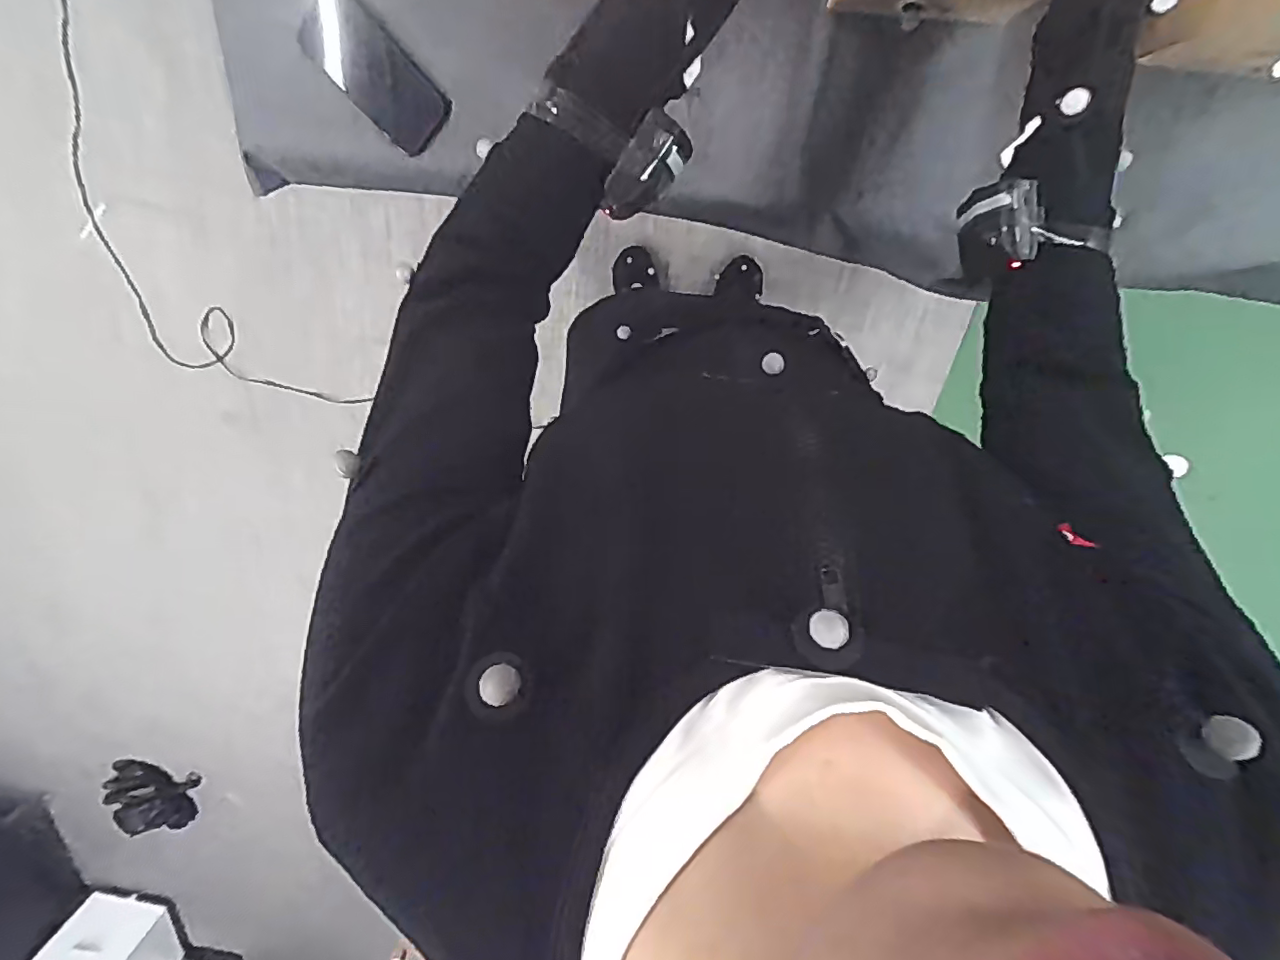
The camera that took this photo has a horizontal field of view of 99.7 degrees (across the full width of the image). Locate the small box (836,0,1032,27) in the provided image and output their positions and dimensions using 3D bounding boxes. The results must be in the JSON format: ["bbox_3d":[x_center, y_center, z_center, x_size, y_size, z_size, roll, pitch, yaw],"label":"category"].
[{"bbox_3d":[0.256,-0.479,0.404,0.168,0.176,0.179,7,117,4],"label":"small box"}]

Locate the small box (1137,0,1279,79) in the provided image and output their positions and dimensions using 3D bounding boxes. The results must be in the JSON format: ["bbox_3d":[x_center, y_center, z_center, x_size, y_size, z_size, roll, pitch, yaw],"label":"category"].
[{"bbox_3d":[0.534,-0.422,0.398,0.168,0.176,0.179,9,116,3],"label":"small box"}]
